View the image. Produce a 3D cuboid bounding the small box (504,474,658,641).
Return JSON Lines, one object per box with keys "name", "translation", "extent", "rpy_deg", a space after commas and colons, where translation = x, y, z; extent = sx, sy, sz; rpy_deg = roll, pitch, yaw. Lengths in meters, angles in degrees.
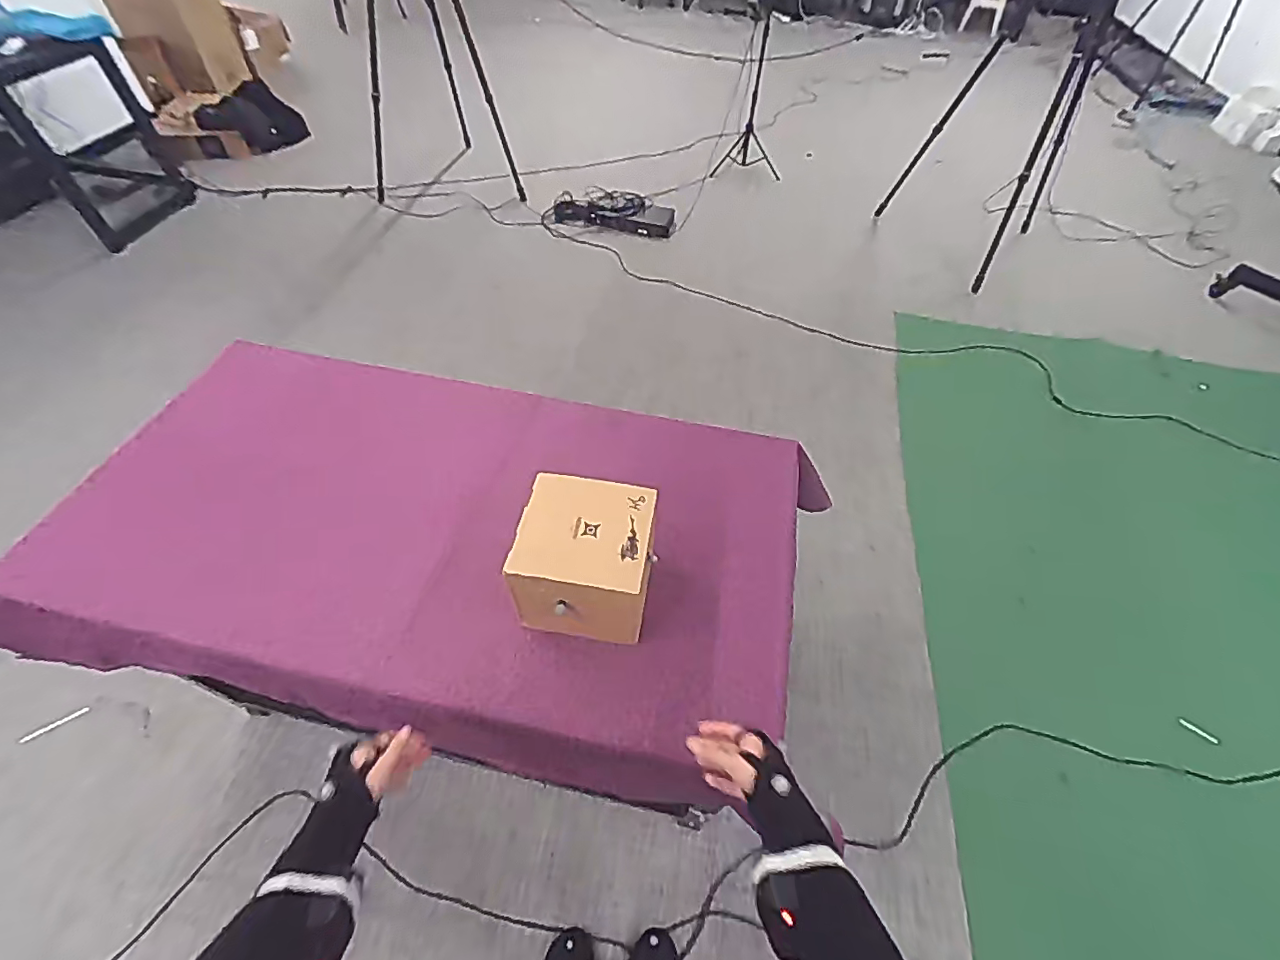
{"name": "small box", "translation": [-0.074, 0.115, 0.781], "extent": [0.179, 0.176, 0.168], "rpy_deg": [8, 51, 5]}
